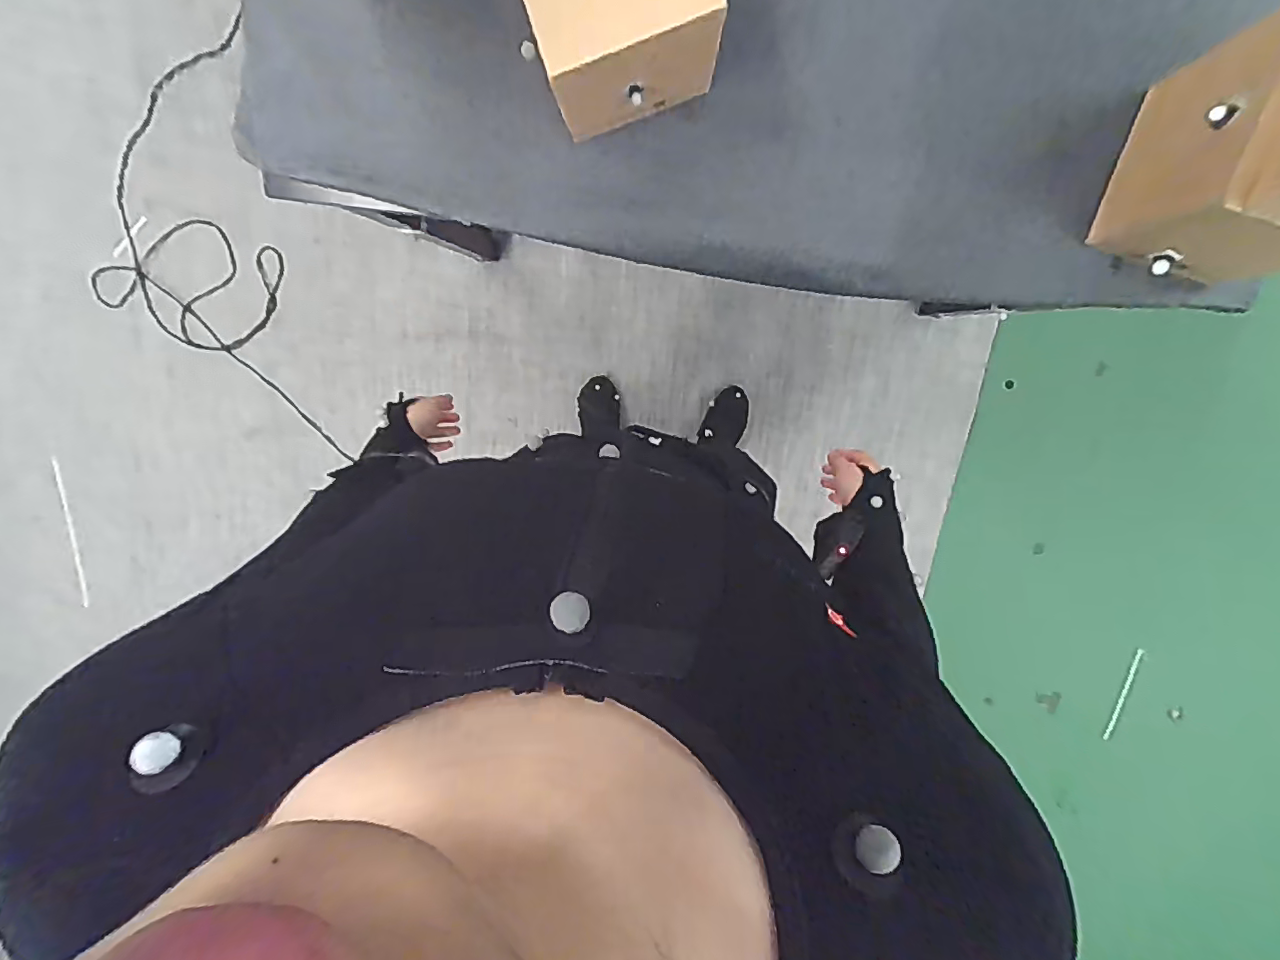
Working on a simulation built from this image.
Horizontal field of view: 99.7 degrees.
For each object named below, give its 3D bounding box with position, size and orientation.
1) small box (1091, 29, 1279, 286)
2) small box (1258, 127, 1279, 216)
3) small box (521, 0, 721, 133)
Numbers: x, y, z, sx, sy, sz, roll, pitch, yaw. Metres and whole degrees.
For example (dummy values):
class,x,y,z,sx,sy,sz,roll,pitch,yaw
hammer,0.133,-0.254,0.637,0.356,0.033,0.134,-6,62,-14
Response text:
class,x,y,z,sx,sy,sz,roll,pitch,yaw
small box,0.616,-0.313,0.542,0.168,0.176,0.179,16,102,0
small box,0.624,-0.279,0.382,0.168,0.176,0.179,14,101,0
small box,-0.028,-0.474,0.529,0.168,0.176,0.179,-17,103,6
